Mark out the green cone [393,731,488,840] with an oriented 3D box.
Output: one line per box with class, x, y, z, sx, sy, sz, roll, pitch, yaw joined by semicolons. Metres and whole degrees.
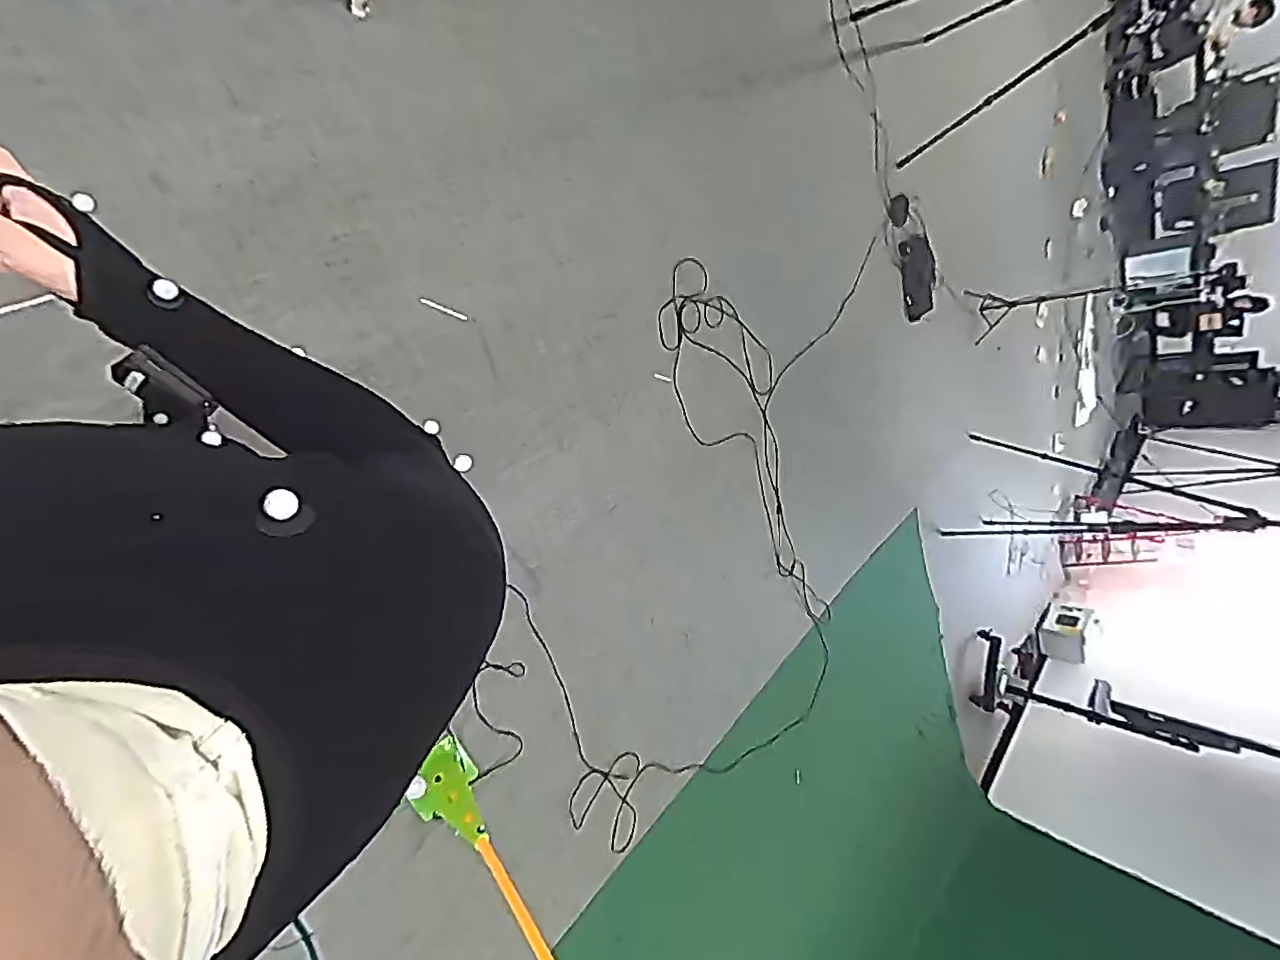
green cone;-0.547;0.947;1.595;0.202;0.368;0.200;-36;117;-32
